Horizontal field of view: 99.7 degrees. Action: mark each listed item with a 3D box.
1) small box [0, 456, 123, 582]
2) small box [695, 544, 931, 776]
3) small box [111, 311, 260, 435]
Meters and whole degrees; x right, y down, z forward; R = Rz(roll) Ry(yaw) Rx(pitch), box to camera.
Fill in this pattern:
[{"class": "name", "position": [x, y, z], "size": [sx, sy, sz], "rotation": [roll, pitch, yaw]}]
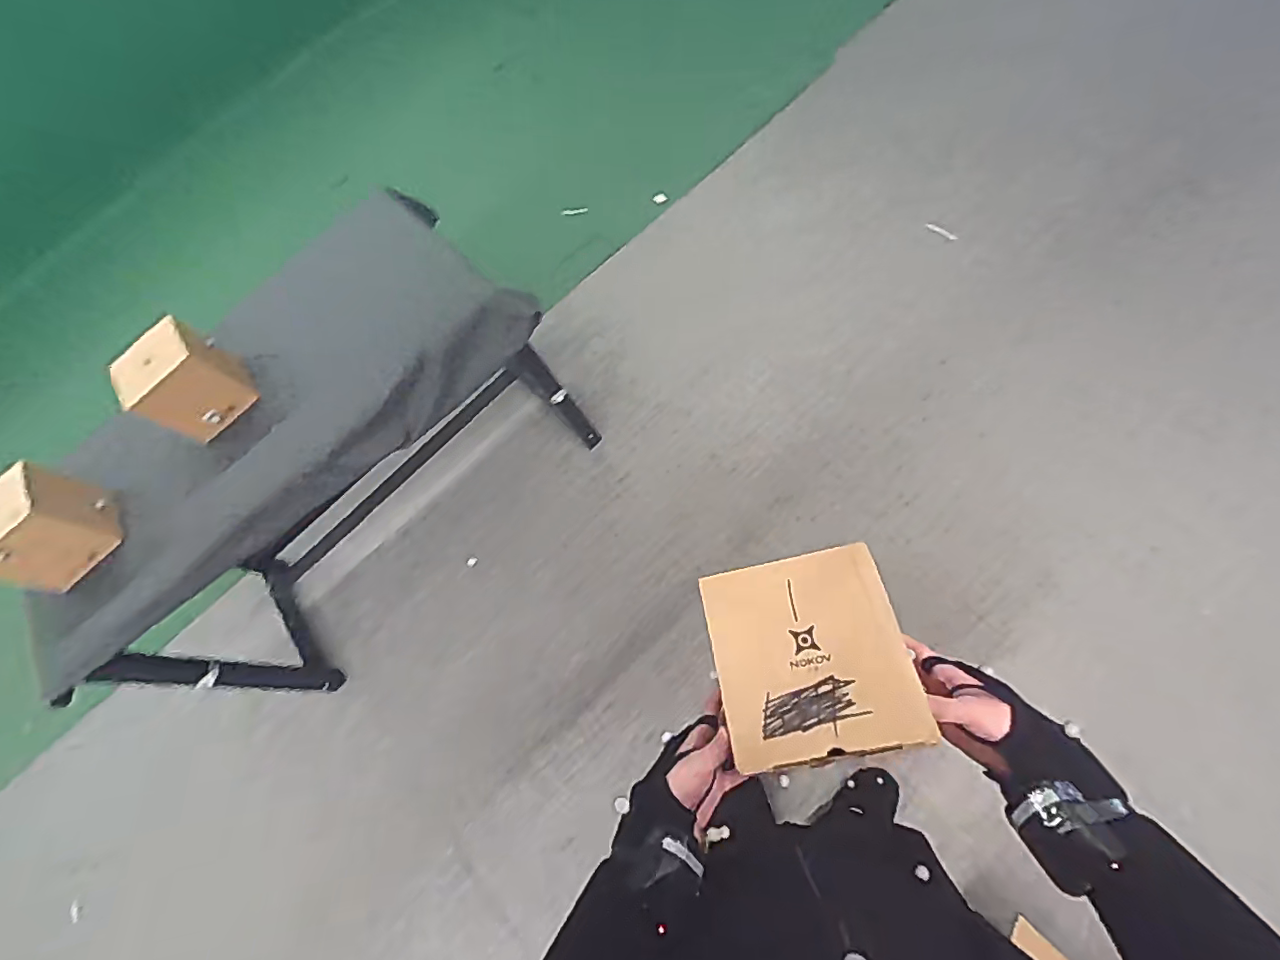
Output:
[{"class": "small box", "position": [-1.244, 0.087, 1.129], "size": [0.168, 0.176, 0.179], "rotation": [-44, 62, -4]}, {"class": "small box", "position": [0.163, 0.189, 0.547], "size": [0.168, 0.176, 0.179], "rotation": [-14, 59, 8]}, {"class": "small box", "position": [-0.992, -0.228, 1.190], "size": [0.168, 0.176, 0.179], "rotation": [-45, 64, -3]}]
